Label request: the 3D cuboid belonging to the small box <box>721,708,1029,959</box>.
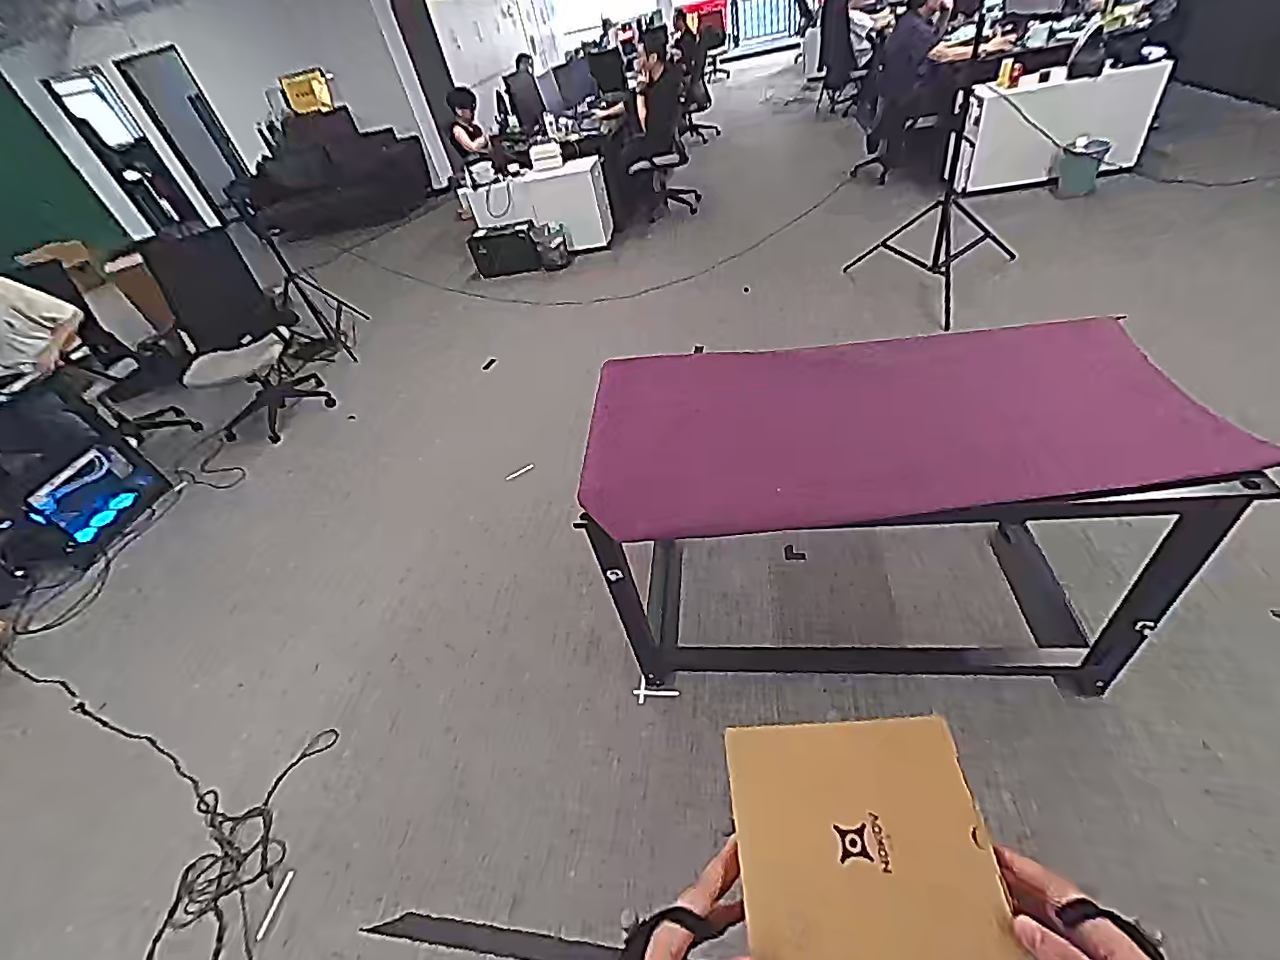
[{"bbox_3d":[0.166,0.303,0.446,0.179,0.176,0.168,-6,50,5],"label":"small box"}]
